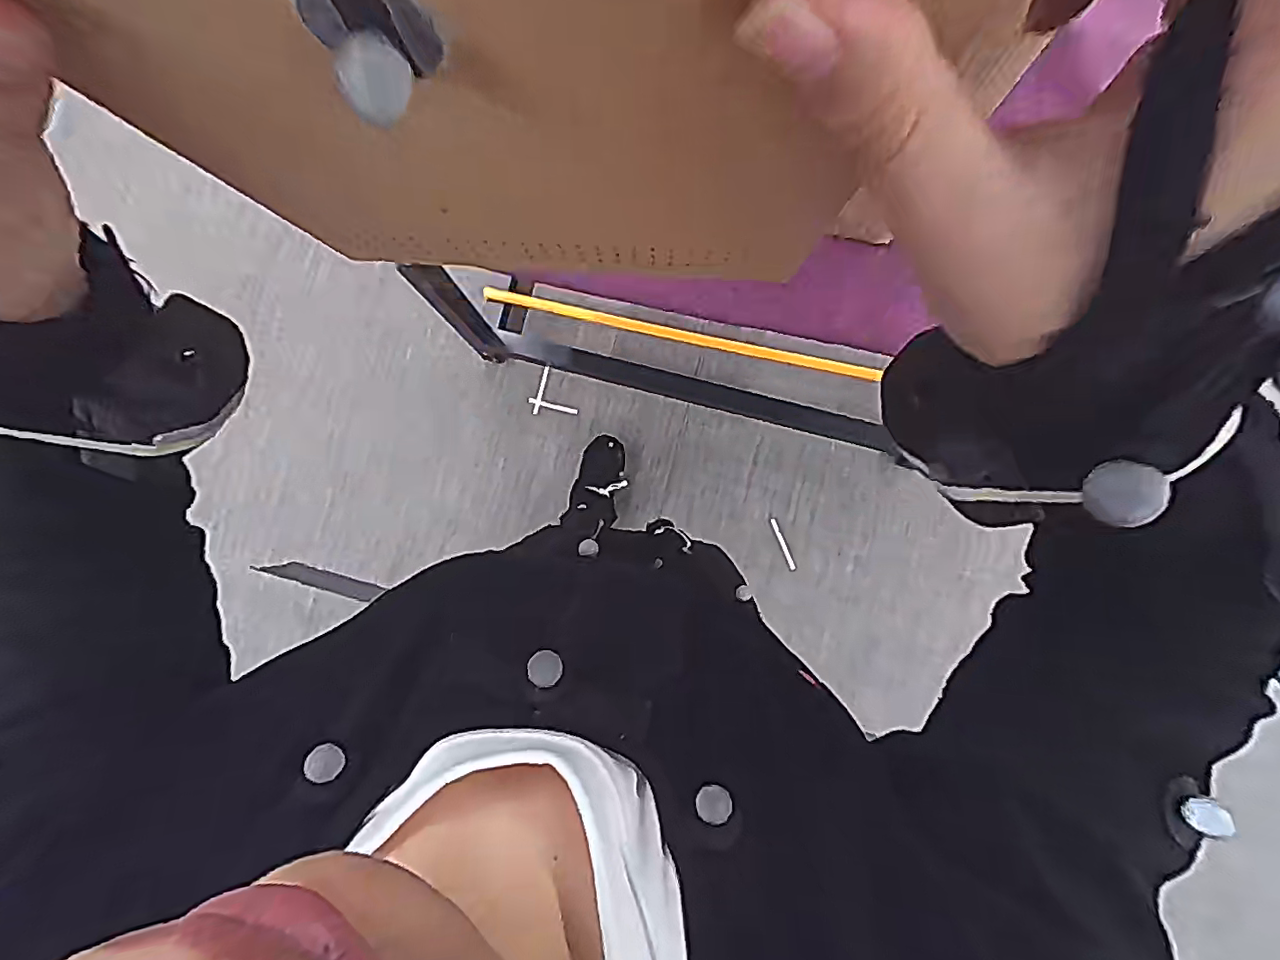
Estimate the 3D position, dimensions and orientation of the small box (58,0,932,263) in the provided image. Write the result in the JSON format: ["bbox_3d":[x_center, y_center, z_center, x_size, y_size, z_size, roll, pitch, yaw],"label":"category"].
[{"bbox_3d":[-0.025,-0.161,0.123,0.179,0.176,0.168,3,94,2],"label":"small box"}]
